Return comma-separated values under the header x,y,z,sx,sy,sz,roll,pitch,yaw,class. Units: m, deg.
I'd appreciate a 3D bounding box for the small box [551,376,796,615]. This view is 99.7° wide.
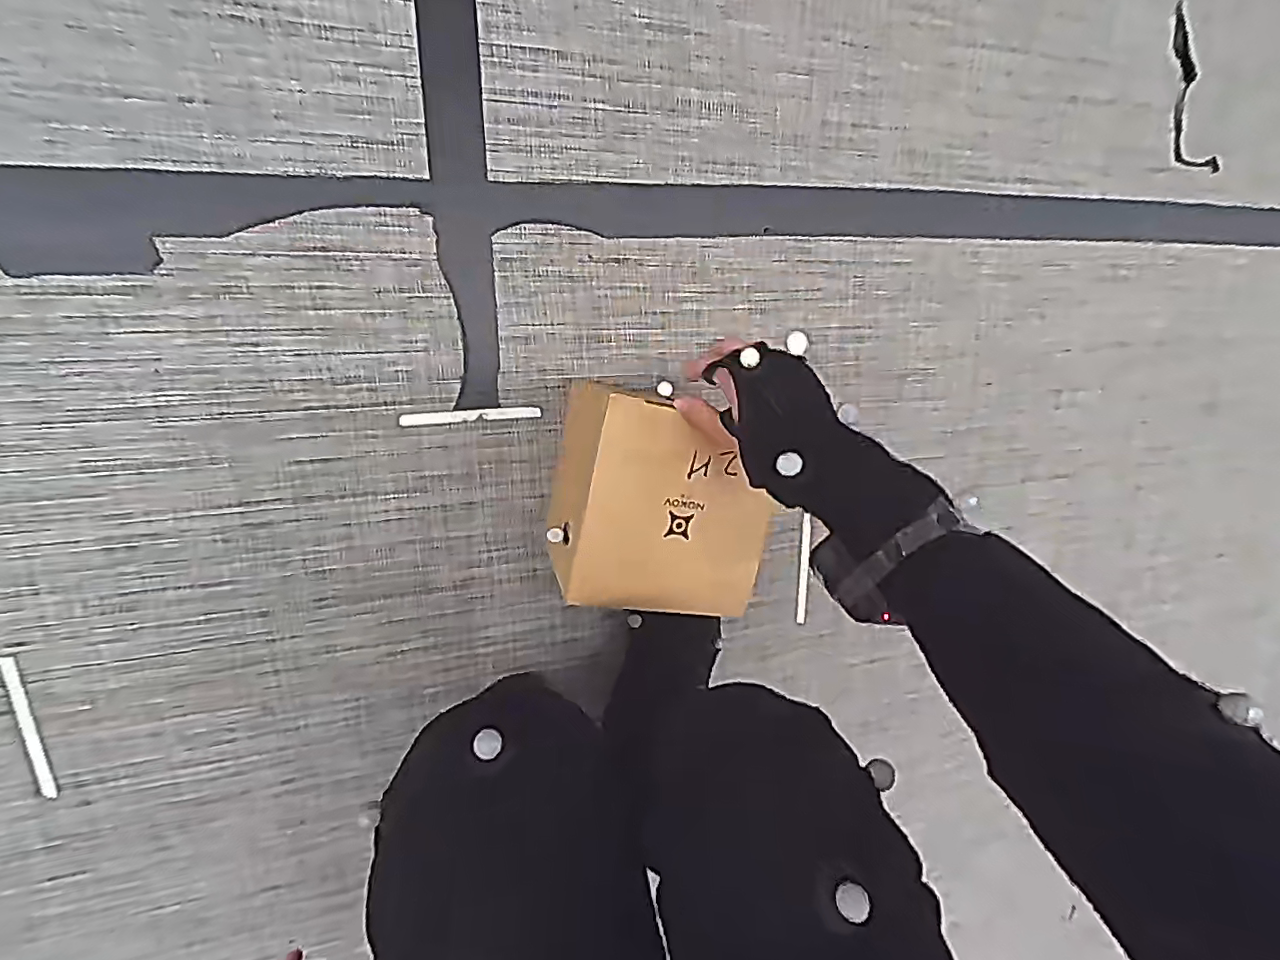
x,y,z,sx,sy,sz,roll,pitch,yaw,class
0.015,0.006,0.516,0.168,0.176,0.179,9,101,-19,small box
